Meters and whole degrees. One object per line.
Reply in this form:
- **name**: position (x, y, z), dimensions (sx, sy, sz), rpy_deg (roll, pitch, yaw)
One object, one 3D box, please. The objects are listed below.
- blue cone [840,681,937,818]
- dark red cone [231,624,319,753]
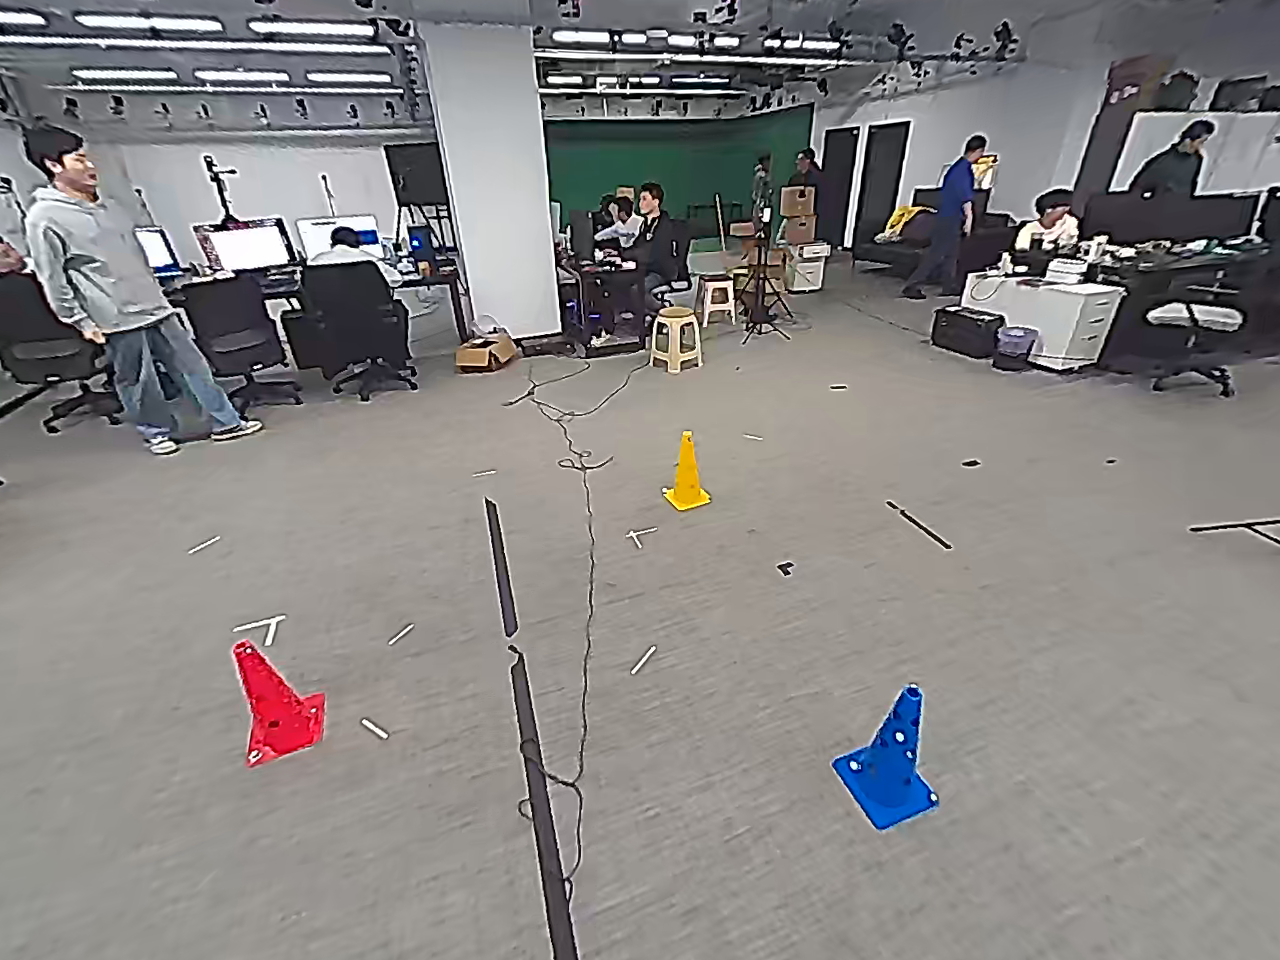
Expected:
- **blue cone**: position (0.654, 0.652, 1.364), dimensions (0.192, 0.380, 0.193), rpy_deg (-10, 30, -15)
- **dark red cone**: position (-1.093, 0.578, 1.566), dimensions (0.201, 0.394, 0.202), rpy_deg (-14, 31, -22)
